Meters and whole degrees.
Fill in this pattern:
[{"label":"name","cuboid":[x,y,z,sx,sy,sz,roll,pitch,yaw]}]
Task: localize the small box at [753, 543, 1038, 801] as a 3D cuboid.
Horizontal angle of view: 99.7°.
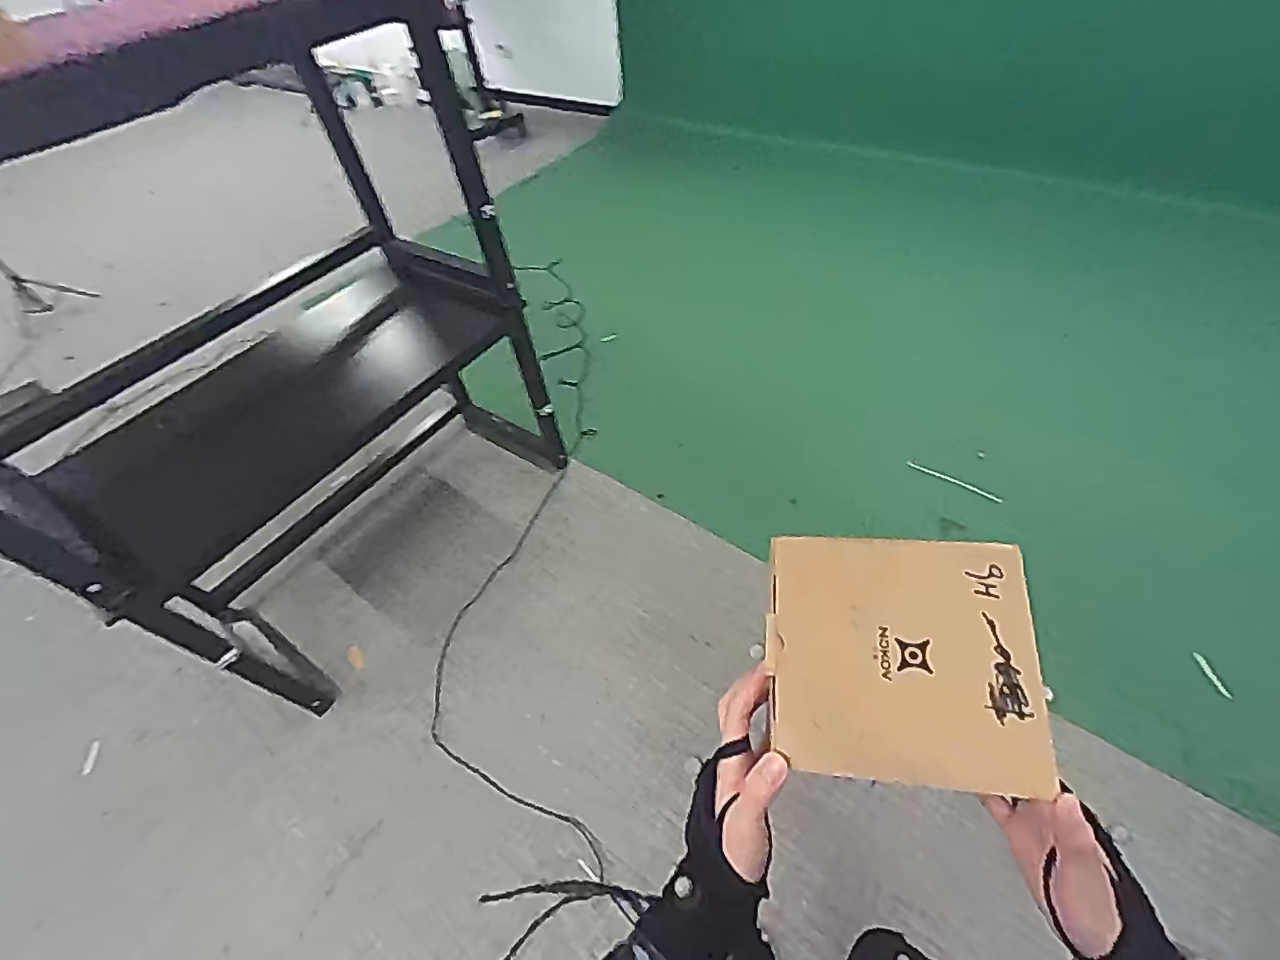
[{"label":"small box","cuboid":[0.189,0.155,0.456,0.179,0.176,0.168,-1,68,13]}]
